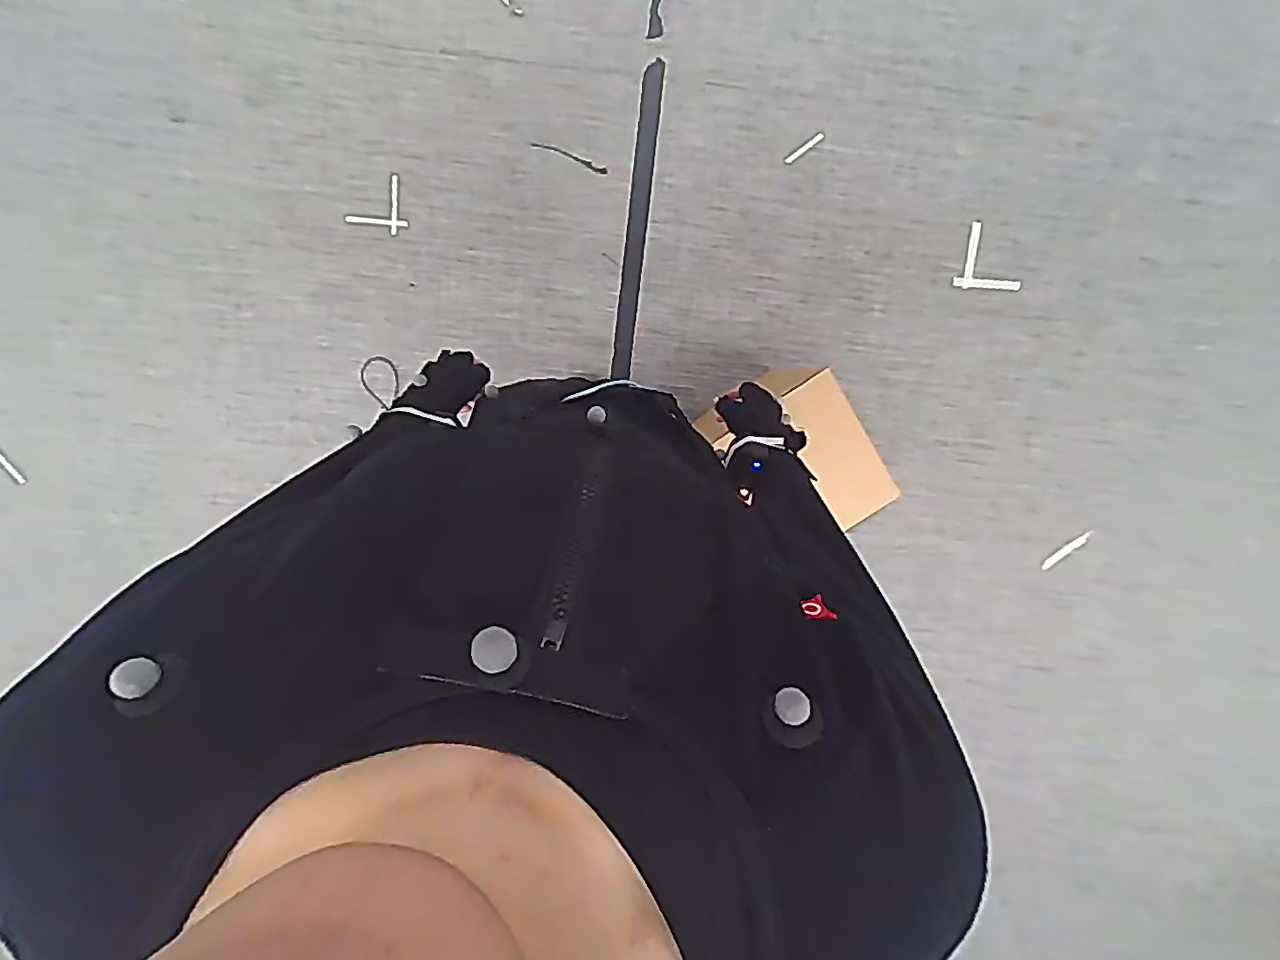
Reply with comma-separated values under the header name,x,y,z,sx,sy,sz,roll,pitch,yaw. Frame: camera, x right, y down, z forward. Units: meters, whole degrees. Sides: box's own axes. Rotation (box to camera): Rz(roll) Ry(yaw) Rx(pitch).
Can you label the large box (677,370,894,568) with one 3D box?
name,x,y,z,sx,sy,sz,roll,pitch,yaw
large box,0.317,-0.044,1.295,0.320,0.408,0.320,-32,99,4
